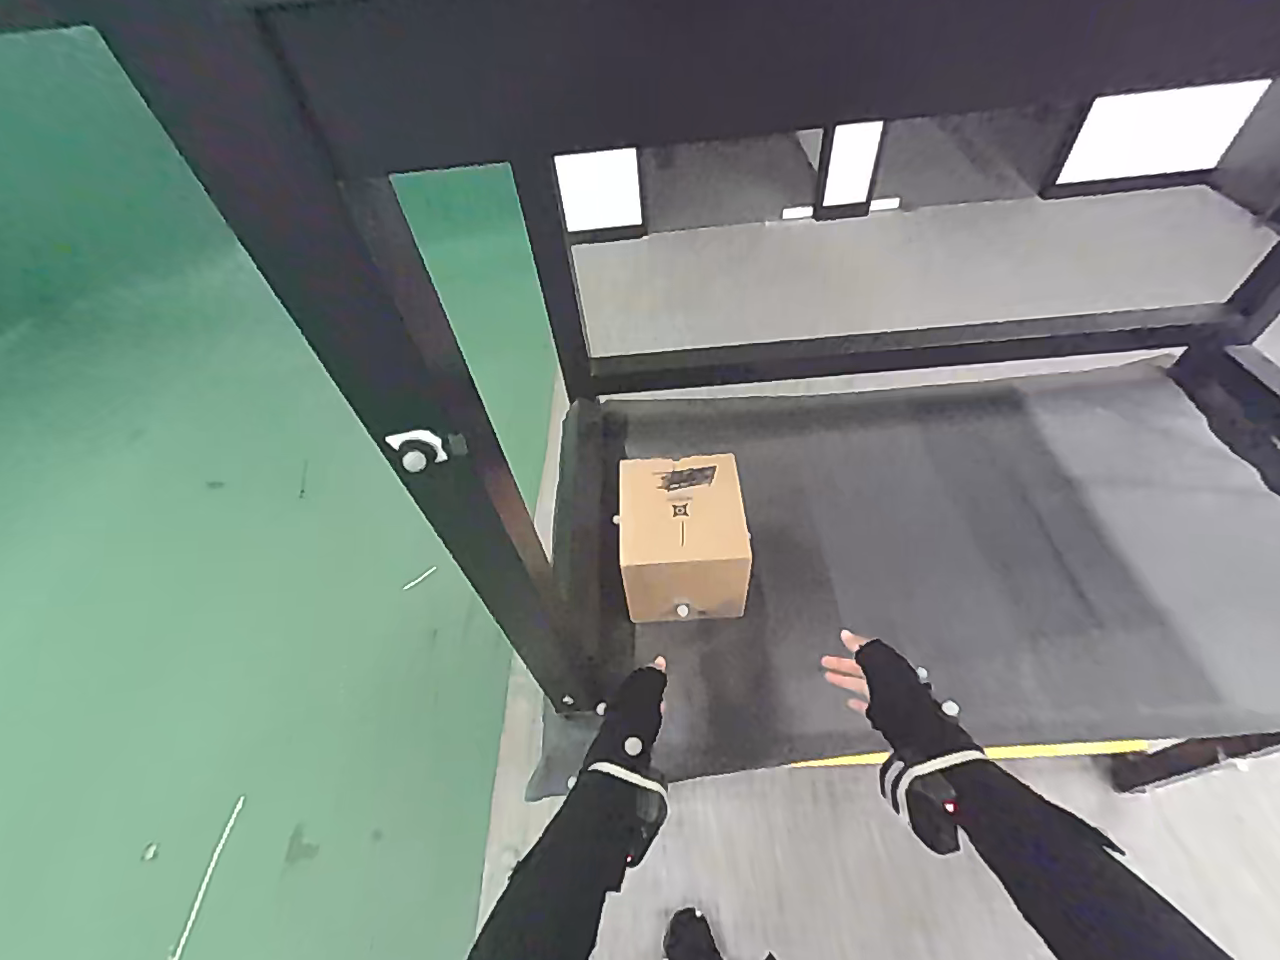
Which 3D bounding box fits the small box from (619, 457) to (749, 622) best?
[{"bbox_3d":[0.059,0.088,0.789,0.168,0.176,0.179,-4,50,3],"label":"small box"}]
